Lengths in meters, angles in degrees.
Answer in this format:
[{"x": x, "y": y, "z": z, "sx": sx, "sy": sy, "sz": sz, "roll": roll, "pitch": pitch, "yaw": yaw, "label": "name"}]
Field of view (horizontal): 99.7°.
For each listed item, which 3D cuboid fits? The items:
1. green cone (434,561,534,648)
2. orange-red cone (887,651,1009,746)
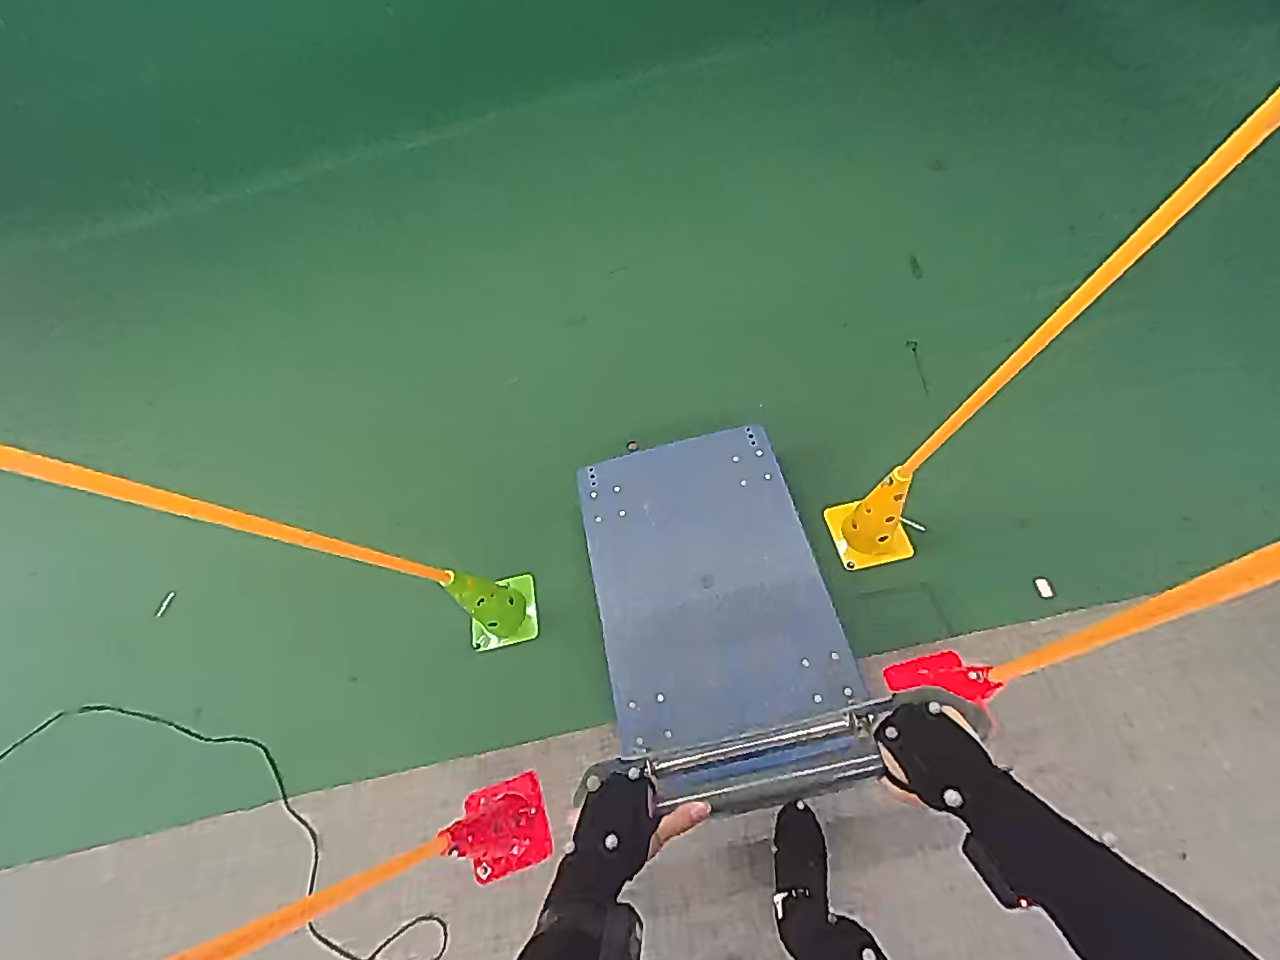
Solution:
[{"x": -0.443, "y": 0.301, "z": 1.453, "sx": 0.200, "sy": 0.368, "sz": 0.202, "roll": -15, "pitch": 60, "yaw": 3, "label": "green cone"}, {"x": 0.706, "y": 0.450, "z": 1.180, "sx": 0.198, "sy": 0.360, "sz": 0.199, "roll": -14, "pitch": 59, "yaw": 2, "label": "orange-red cone"}]
